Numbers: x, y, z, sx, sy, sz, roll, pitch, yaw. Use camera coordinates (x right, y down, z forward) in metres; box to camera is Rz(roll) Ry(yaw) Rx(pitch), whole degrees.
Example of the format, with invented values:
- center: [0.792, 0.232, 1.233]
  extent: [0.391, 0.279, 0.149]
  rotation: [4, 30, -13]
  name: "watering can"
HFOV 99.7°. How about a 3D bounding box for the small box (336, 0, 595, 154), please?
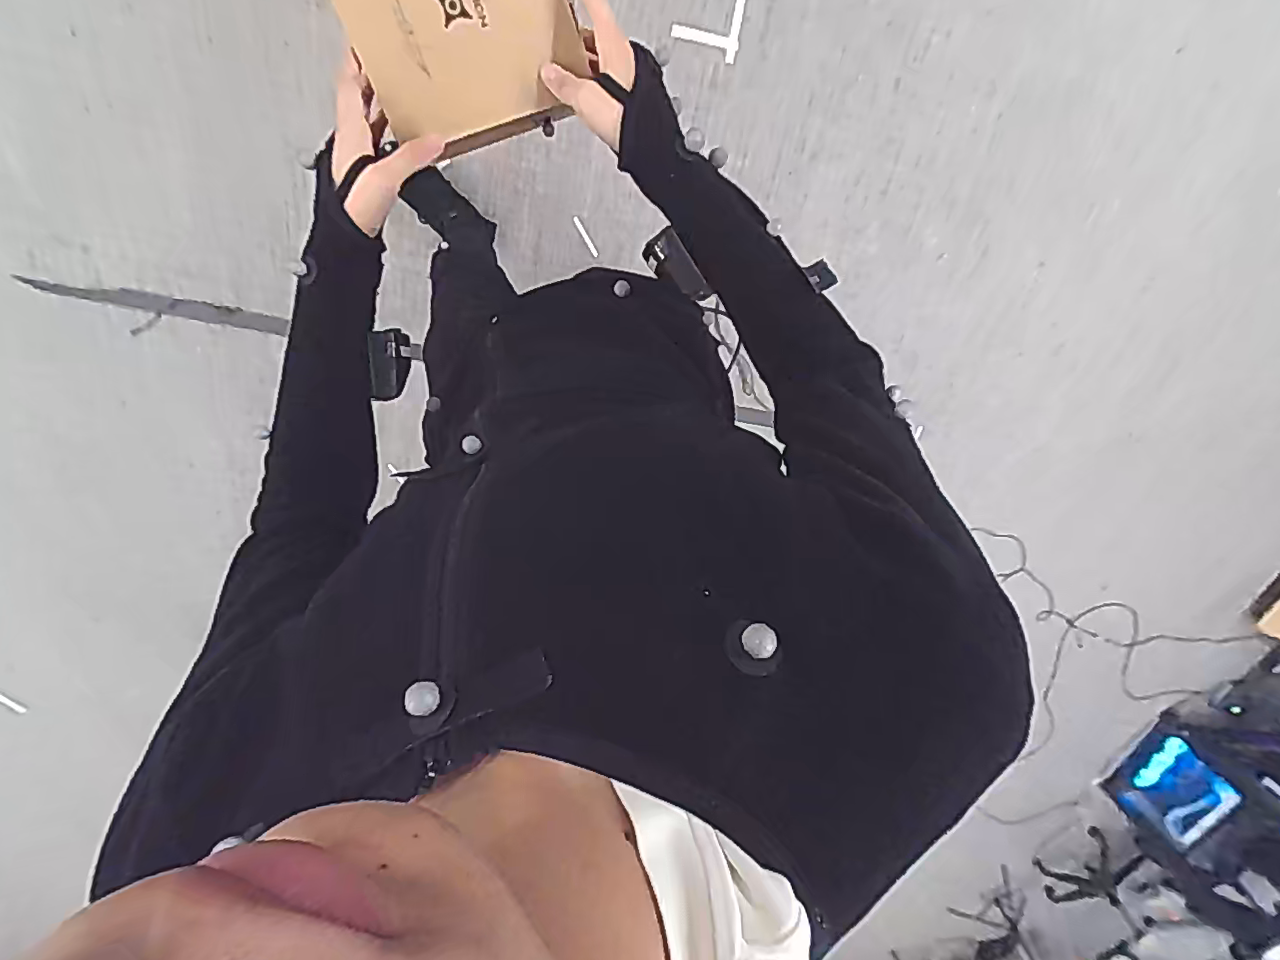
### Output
- center: [-0.157, -0.408, 0.479]
  extent: [0.179, 0.176, 0.168]
  rotation: [-20, 120, -2]
  name: "small box"
